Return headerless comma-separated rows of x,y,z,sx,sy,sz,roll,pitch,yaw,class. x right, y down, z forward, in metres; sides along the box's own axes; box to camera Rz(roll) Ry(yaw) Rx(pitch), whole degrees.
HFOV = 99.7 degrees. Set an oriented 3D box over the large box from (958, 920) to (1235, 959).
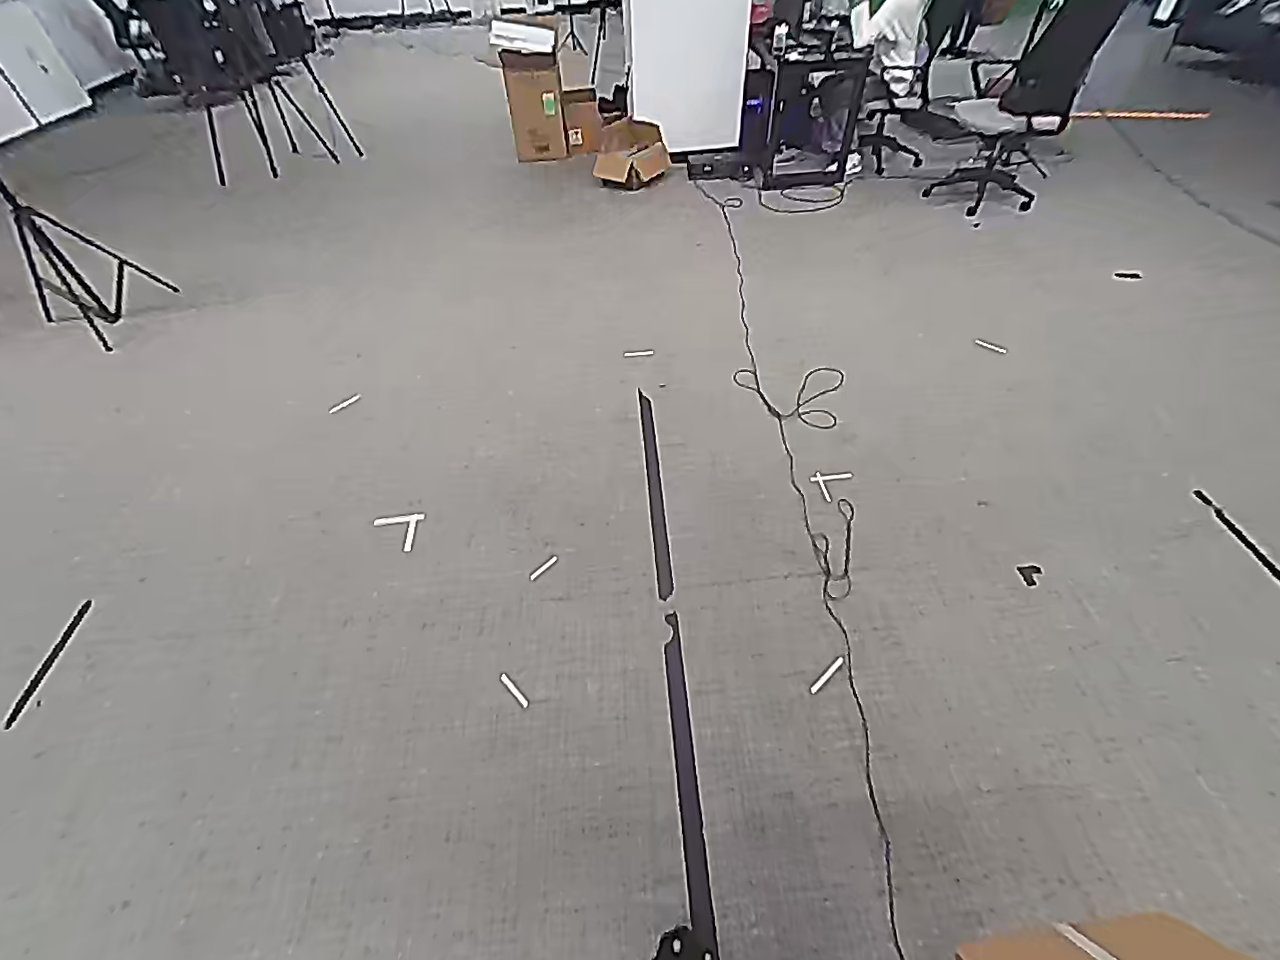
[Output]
0.613,0.738,0.539,0.320,0.408,0.320,-9,75,-1,large box
